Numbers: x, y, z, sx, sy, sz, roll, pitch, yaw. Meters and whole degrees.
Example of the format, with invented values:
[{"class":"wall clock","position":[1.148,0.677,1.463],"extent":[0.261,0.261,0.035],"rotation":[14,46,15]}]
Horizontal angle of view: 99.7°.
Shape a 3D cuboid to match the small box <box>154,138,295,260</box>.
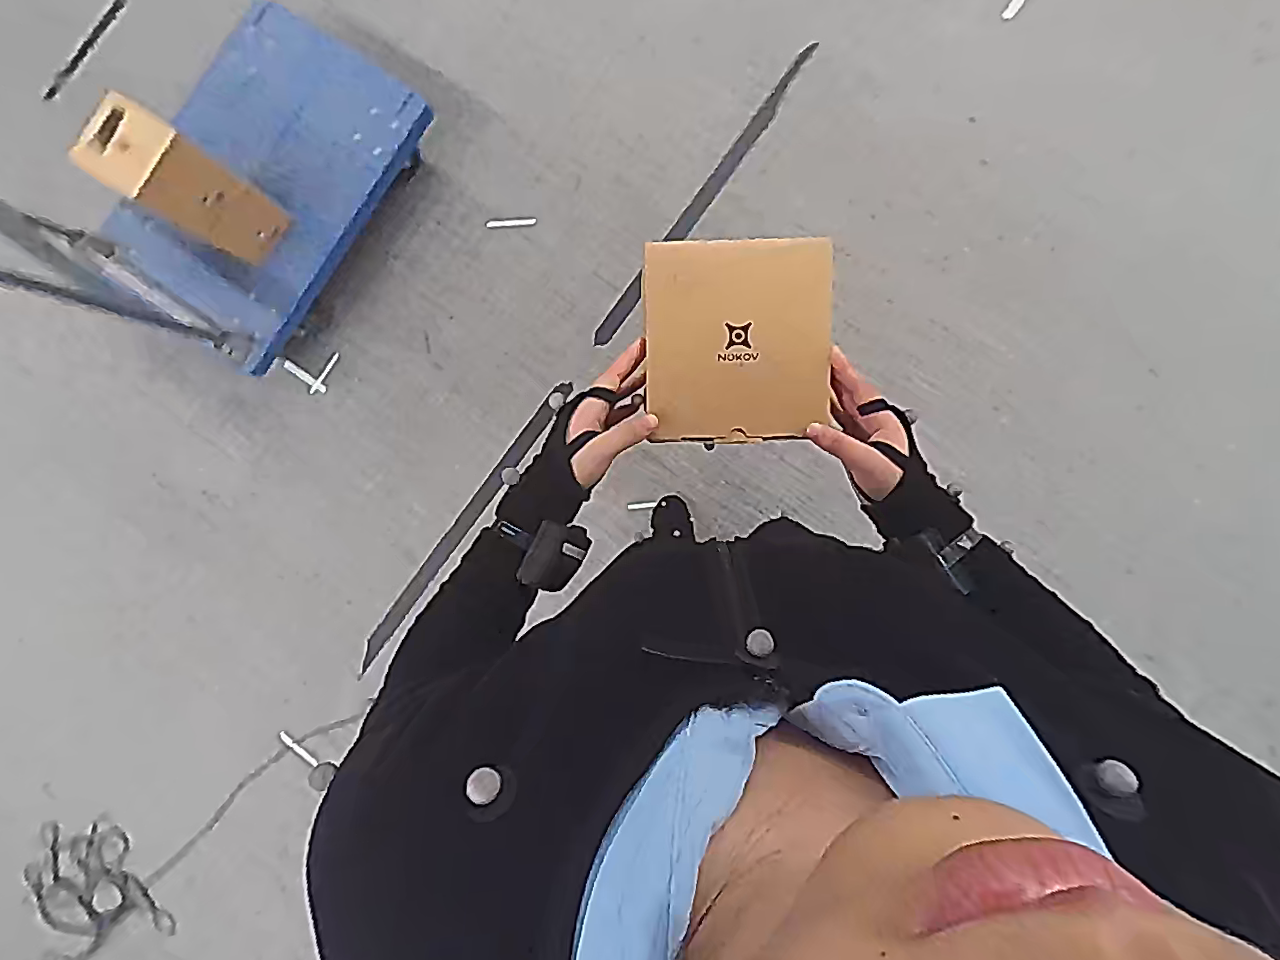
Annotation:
[{"class":"small box","position":[-1.012,-0.679,1.331],"extent":[0.179,0.176,0.168],"rotation":[38,91,4]}]
